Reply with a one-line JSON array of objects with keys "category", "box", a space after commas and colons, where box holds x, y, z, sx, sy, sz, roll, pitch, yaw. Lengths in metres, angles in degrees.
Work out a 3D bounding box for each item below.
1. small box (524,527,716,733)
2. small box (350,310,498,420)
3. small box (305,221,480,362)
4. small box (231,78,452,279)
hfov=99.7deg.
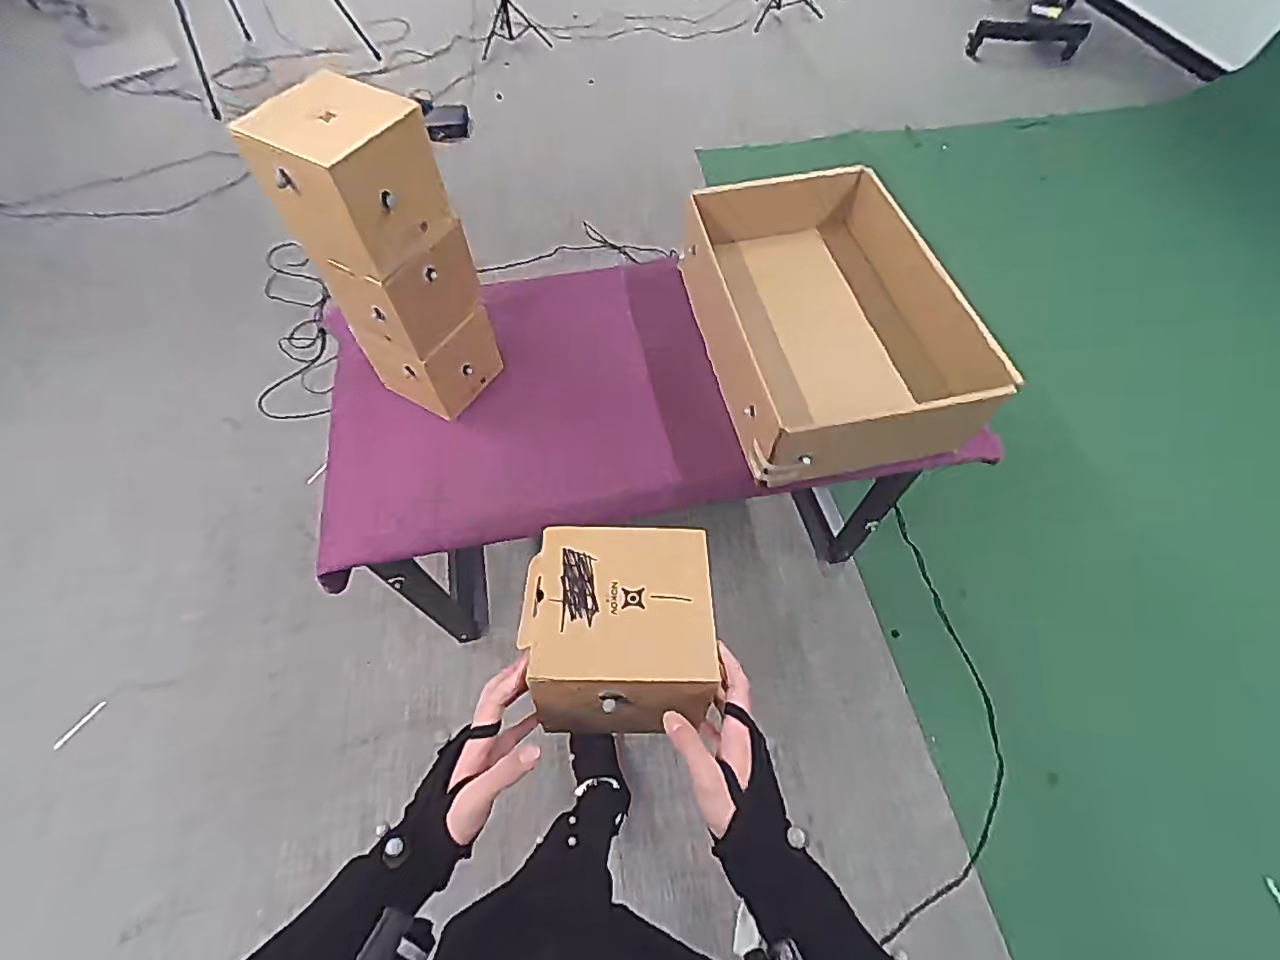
[{"category": "small box", "box": [-0.021, 0.168, 0.593, 0.179, 0.176, 0.168, 2, 49, -3]}, {"category": "small box", "box": [-0.396, -0.240, 1.028, 0.179, 0.176, 0.168, 27, 62, 15]}, {"category": "small box", "box": [-0.390, -0.327, 0.891, 0.168, 0.176, 0.179, 28, 63, 14]}, {"category": "small box", "box": [-0.394, -0.409, 0.752, 0.179, 0.176, 0.168, 26, 63, 14]}]
